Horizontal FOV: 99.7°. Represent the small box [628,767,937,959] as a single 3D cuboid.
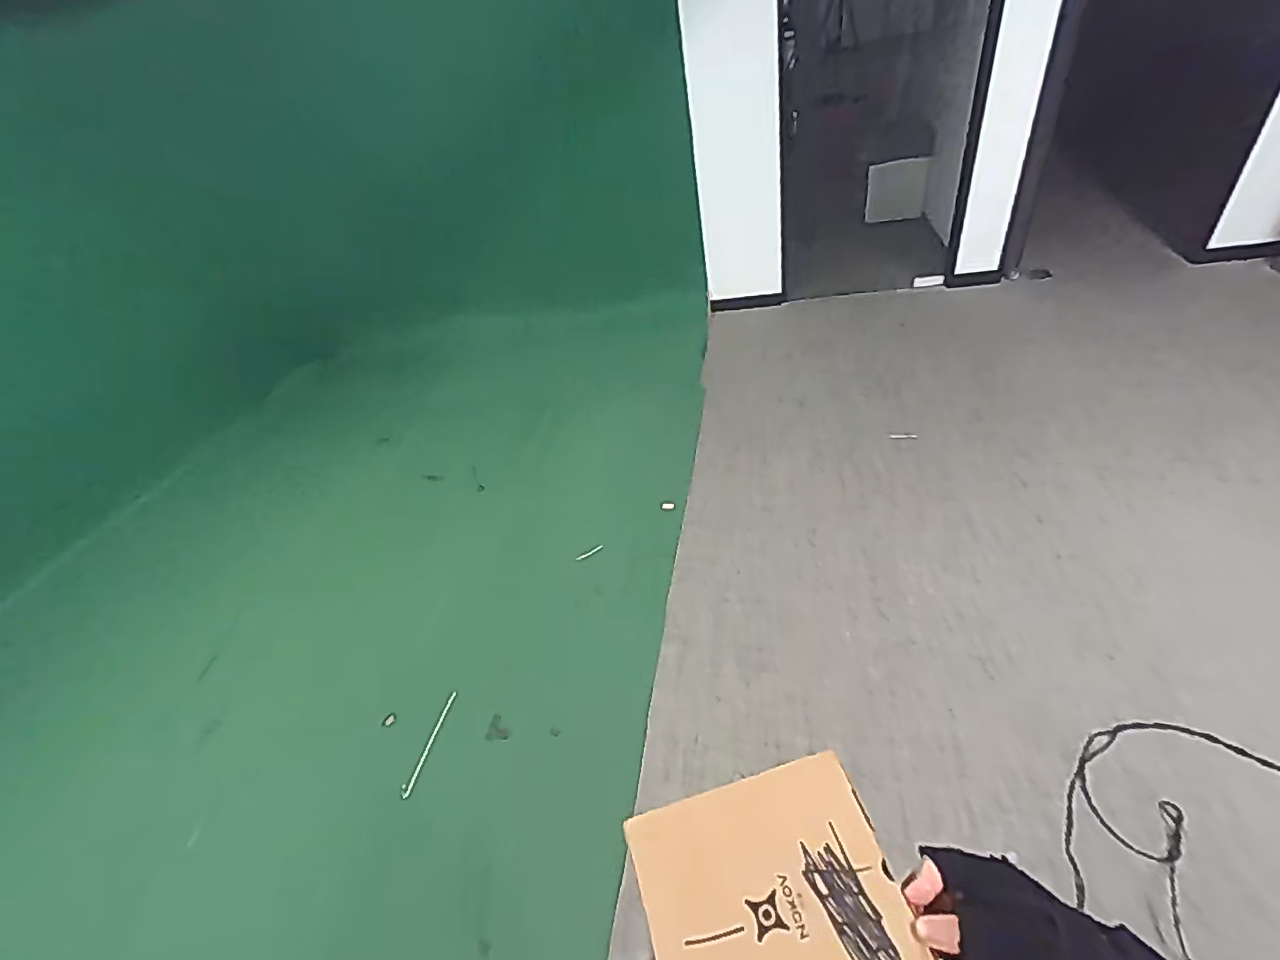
[{"bbox_3d":[0.096,0.347,0.410,0.179,0.176,0.168,-14,49,-8],"label":"small box"}]
